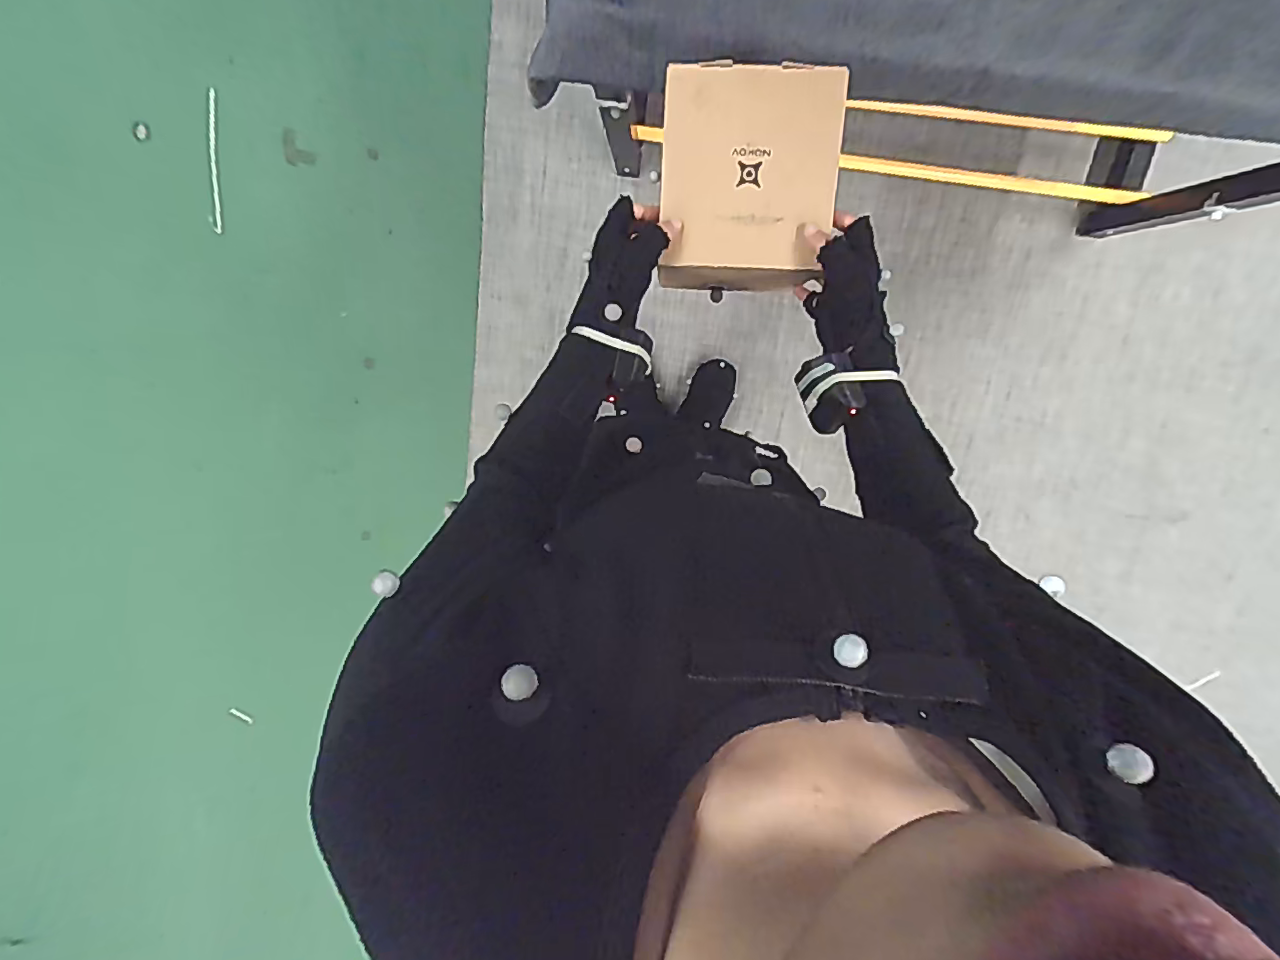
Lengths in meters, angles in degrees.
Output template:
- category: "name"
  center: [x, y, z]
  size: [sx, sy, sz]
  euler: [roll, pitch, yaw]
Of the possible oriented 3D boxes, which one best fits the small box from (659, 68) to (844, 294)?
- category: "small box"
  center: [0.108, -0.309, 0.593]
  size: [0.168, 0.176, 0.179]
  euler: [3, 102, 4]
